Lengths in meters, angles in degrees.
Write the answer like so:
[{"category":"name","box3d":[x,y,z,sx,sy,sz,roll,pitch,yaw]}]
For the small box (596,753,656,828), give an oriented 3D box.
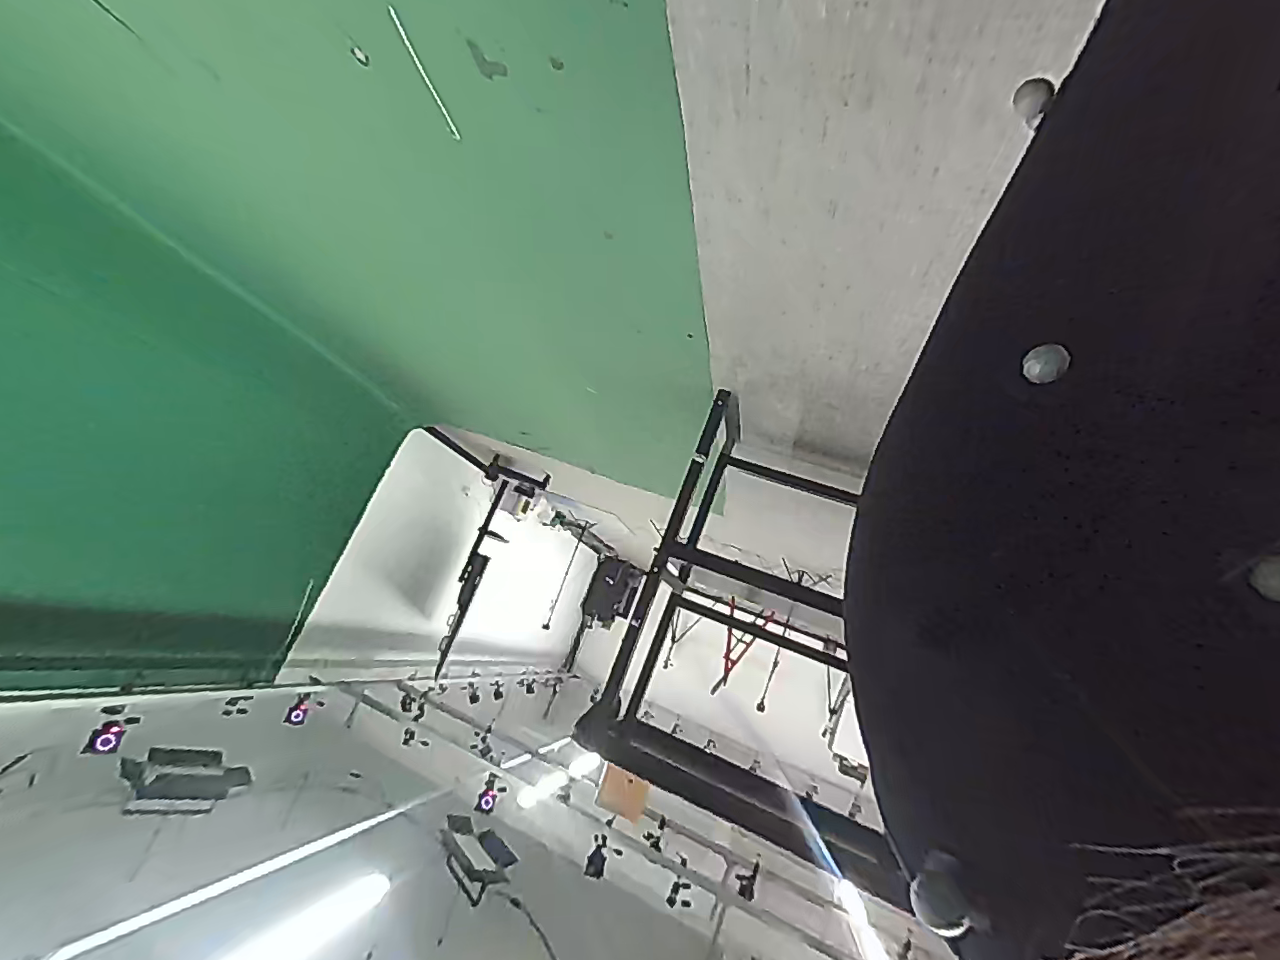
[{"category":"small box","box3d":[-0.046,1.110,1.951,0.168,0.176,0.179,20,165,6]}]
